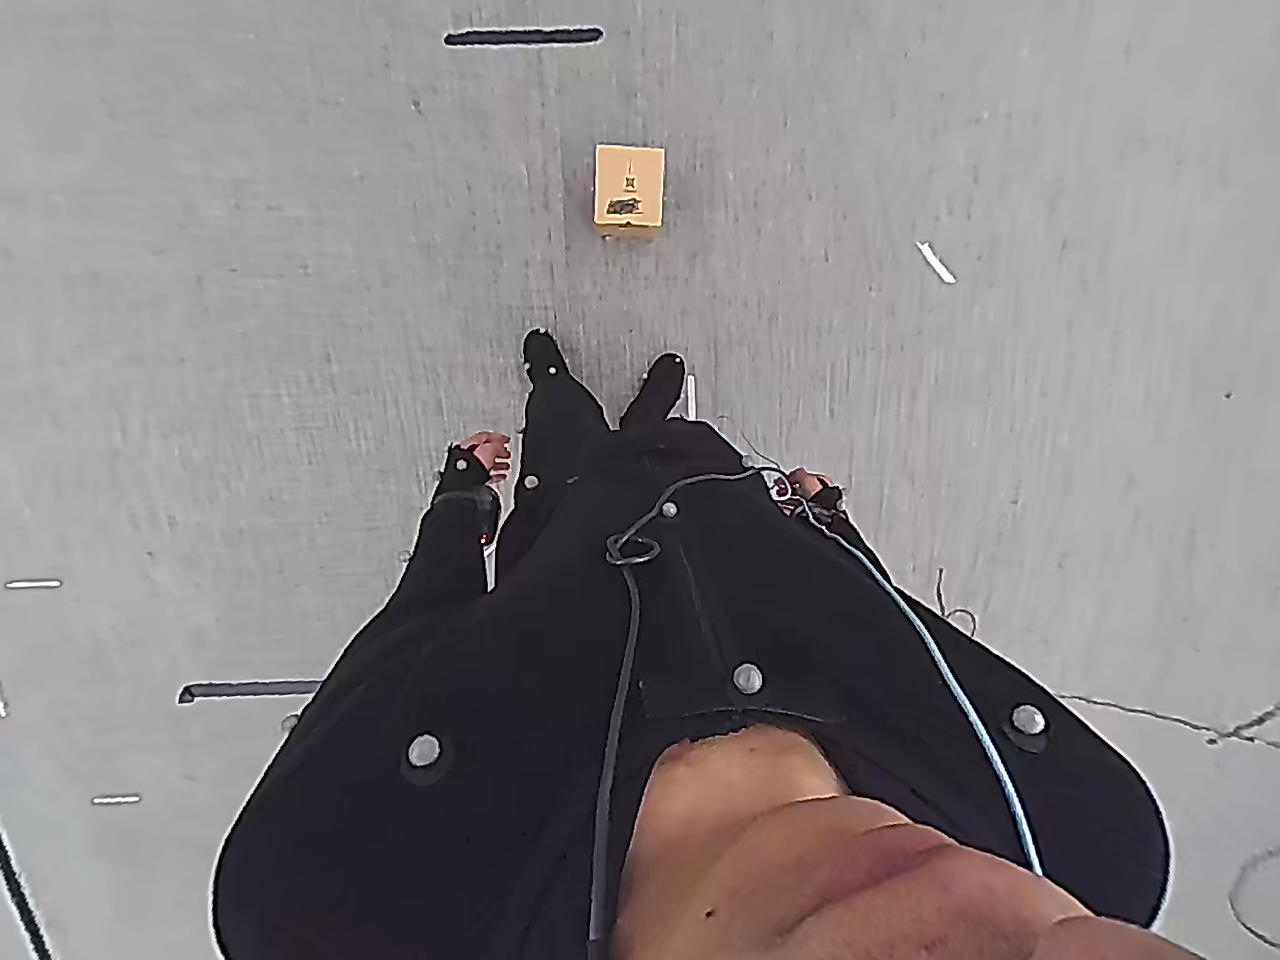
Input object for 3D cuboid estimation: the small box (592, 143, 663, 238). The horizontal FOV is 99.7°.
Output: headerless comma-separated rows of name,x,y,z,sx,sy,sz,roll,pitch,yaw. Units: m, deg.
small box,-0.035,-0.724,1.371,0.168,0.176,0.179,2,104,-4
